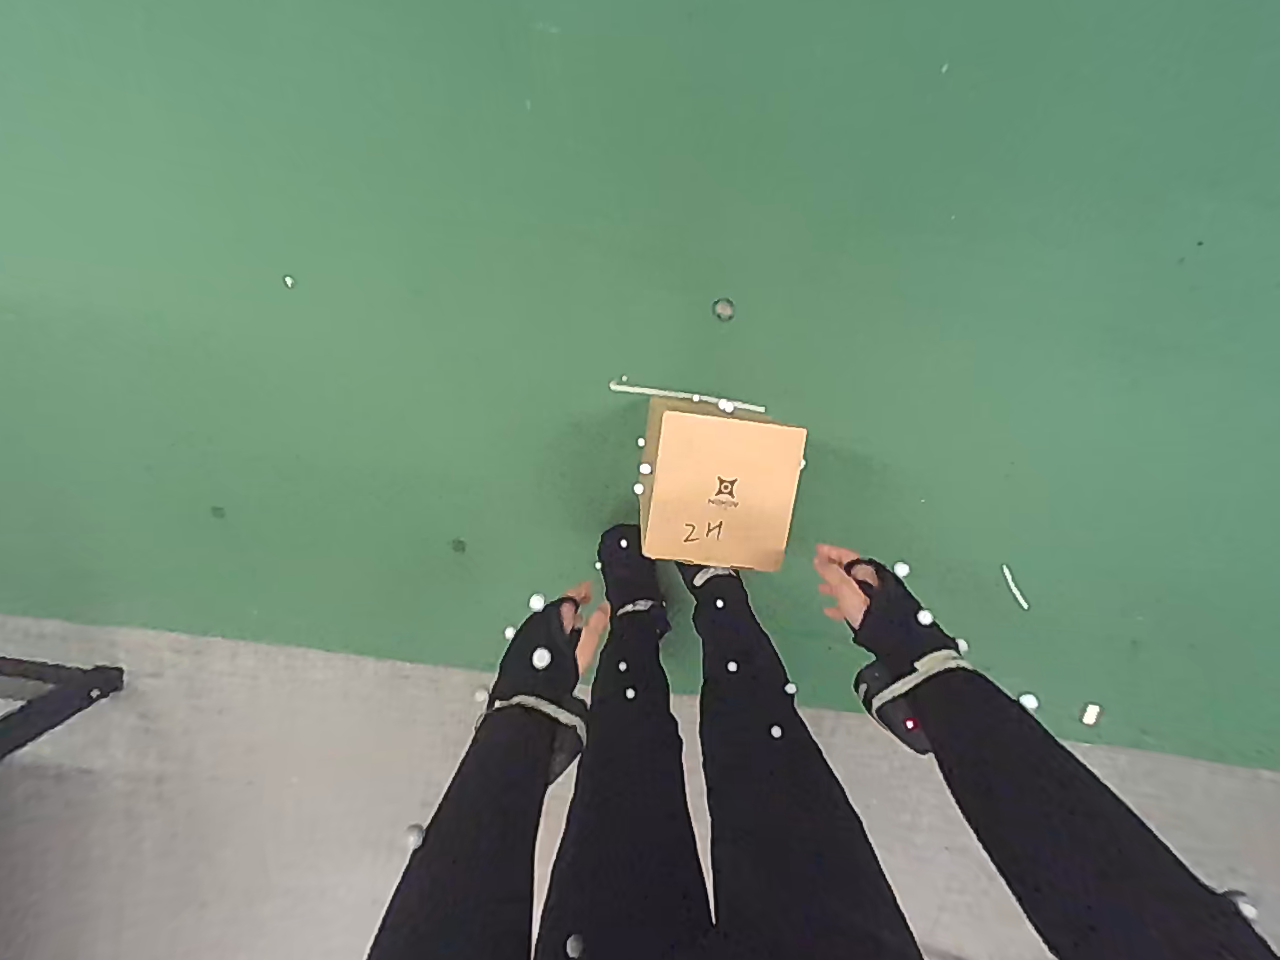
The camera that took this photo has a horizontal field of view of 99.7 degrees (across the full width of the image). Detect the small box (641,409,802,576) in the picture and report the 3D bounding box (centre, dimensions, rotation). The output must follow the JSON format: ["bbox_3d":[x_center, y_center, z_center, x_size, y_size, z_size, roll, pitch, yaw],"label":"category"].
[{"bbox_3d":[0.092,0.005,0.701,0.168,0.176,0.179,7,101,-2],"label":"small box"}]

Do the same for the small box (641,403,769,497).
[{"bbox_3d":[0.093,-0.026,0.863,0.168,0.176,0.179,7,101,-2],"label":"small box"}]
